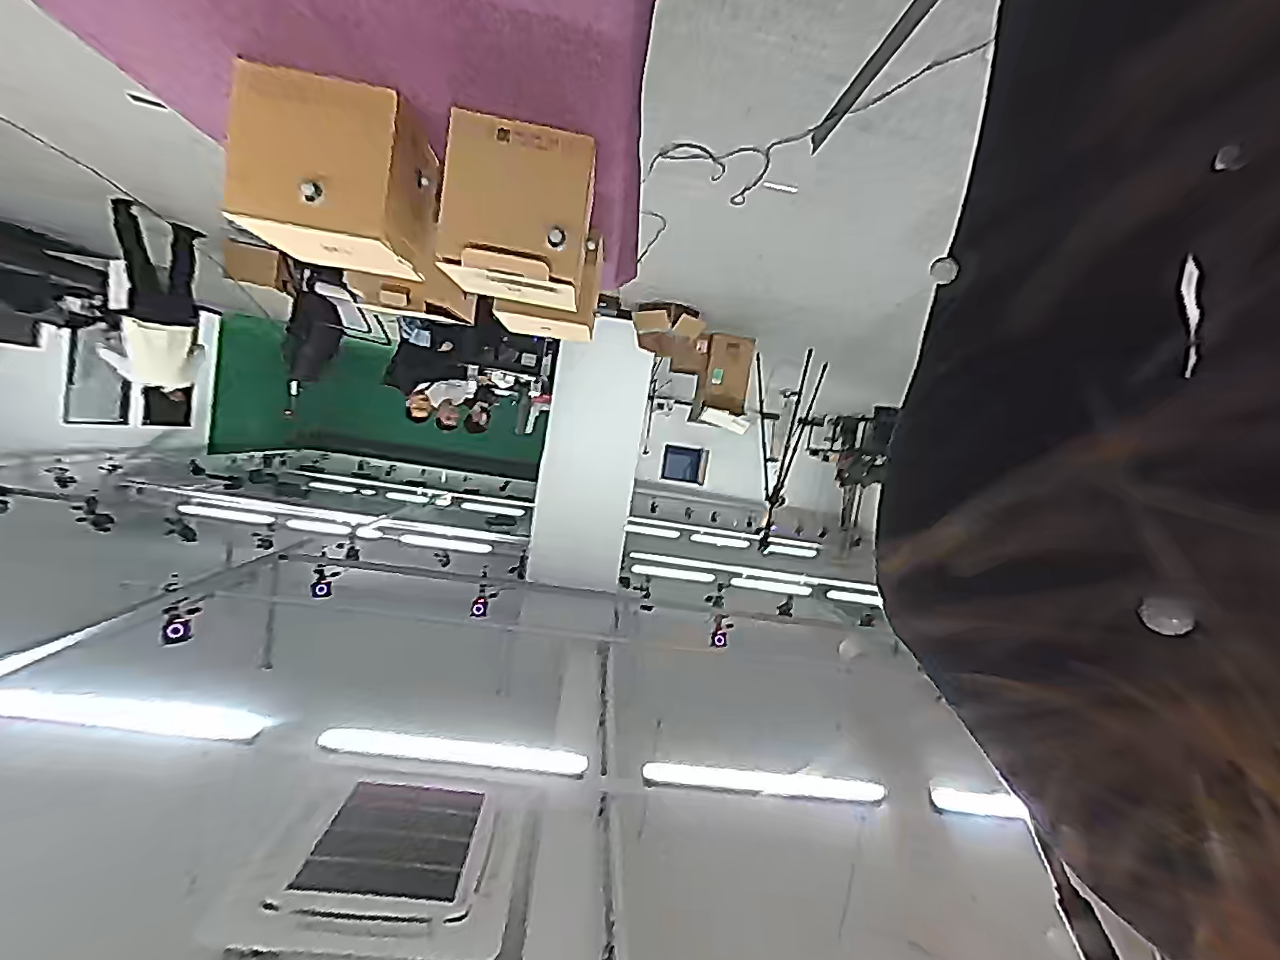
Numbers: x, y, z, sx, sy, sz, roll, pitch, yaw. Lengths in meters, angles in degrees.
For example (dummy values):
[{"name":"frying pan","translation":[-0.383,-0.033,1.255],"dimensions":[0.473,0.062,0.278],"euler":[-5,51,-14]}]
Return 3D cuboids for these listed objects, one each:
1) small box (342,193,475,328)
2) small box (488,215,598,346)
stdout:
[{"name":"small box","translation":[-0.408,-0.389,0.981],"dimensions":[0.168,0.176,0.179],"euler":[8,-176,-3]},{"name":"small box","translation":[-0.169,-0.355,0.988],"dimensions":[0.168,0.176,0.179],"euler":[8,-176,-5]}]
